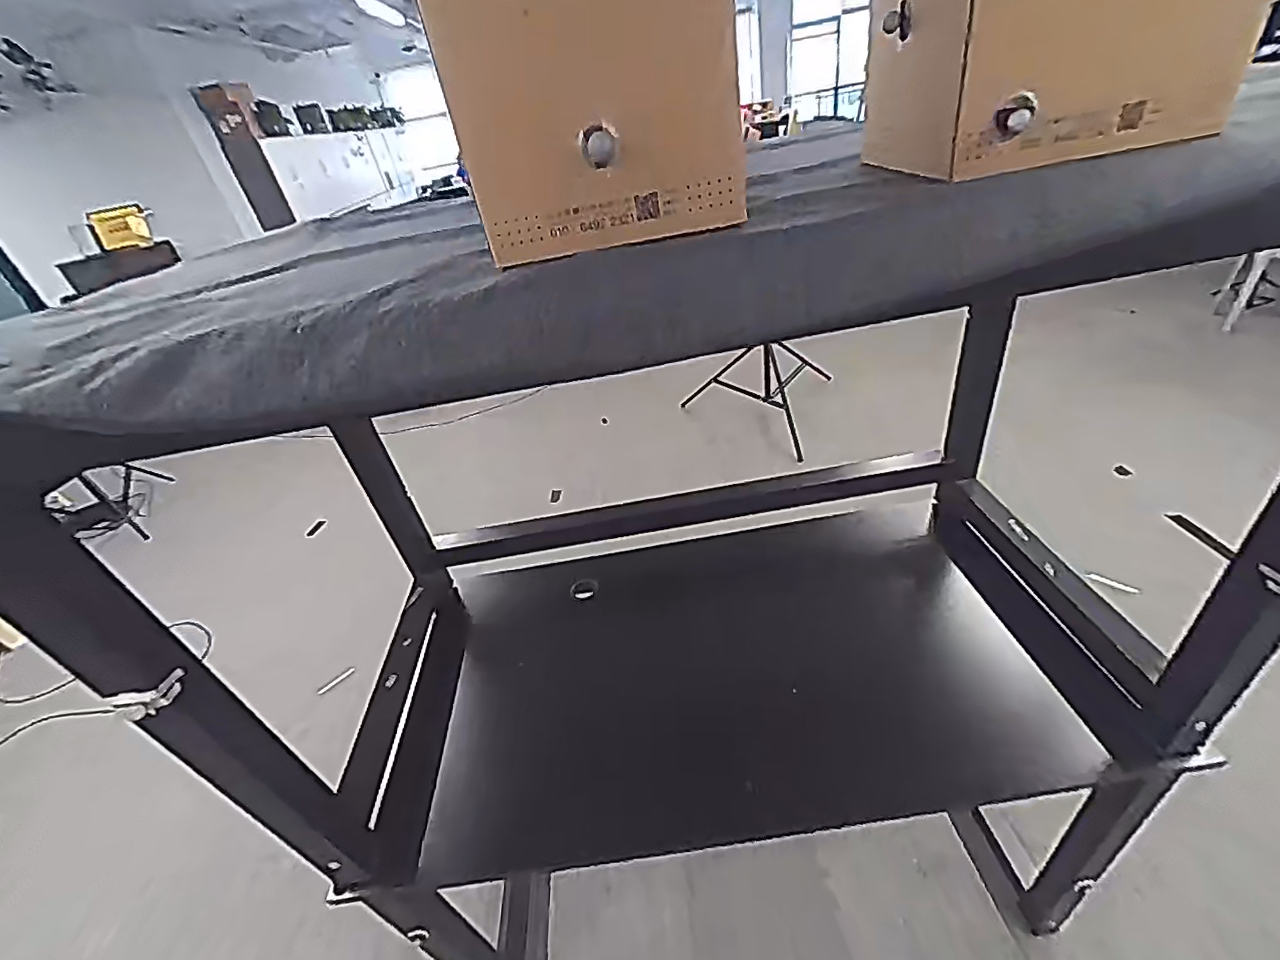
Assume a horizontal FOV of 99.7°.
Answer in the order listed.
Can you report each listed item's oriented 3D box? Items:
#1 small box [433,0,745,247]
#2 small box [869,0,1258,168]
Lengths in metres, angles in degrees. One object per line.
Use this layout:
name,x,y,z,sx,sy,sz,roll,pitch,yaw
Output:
small box,-0.027,-0.268,0.371,0.168,0.176,0.179,-9,32,3
small box,0.267,-0.320,0.364,0.168,0.176,0.179,-8,33,6
